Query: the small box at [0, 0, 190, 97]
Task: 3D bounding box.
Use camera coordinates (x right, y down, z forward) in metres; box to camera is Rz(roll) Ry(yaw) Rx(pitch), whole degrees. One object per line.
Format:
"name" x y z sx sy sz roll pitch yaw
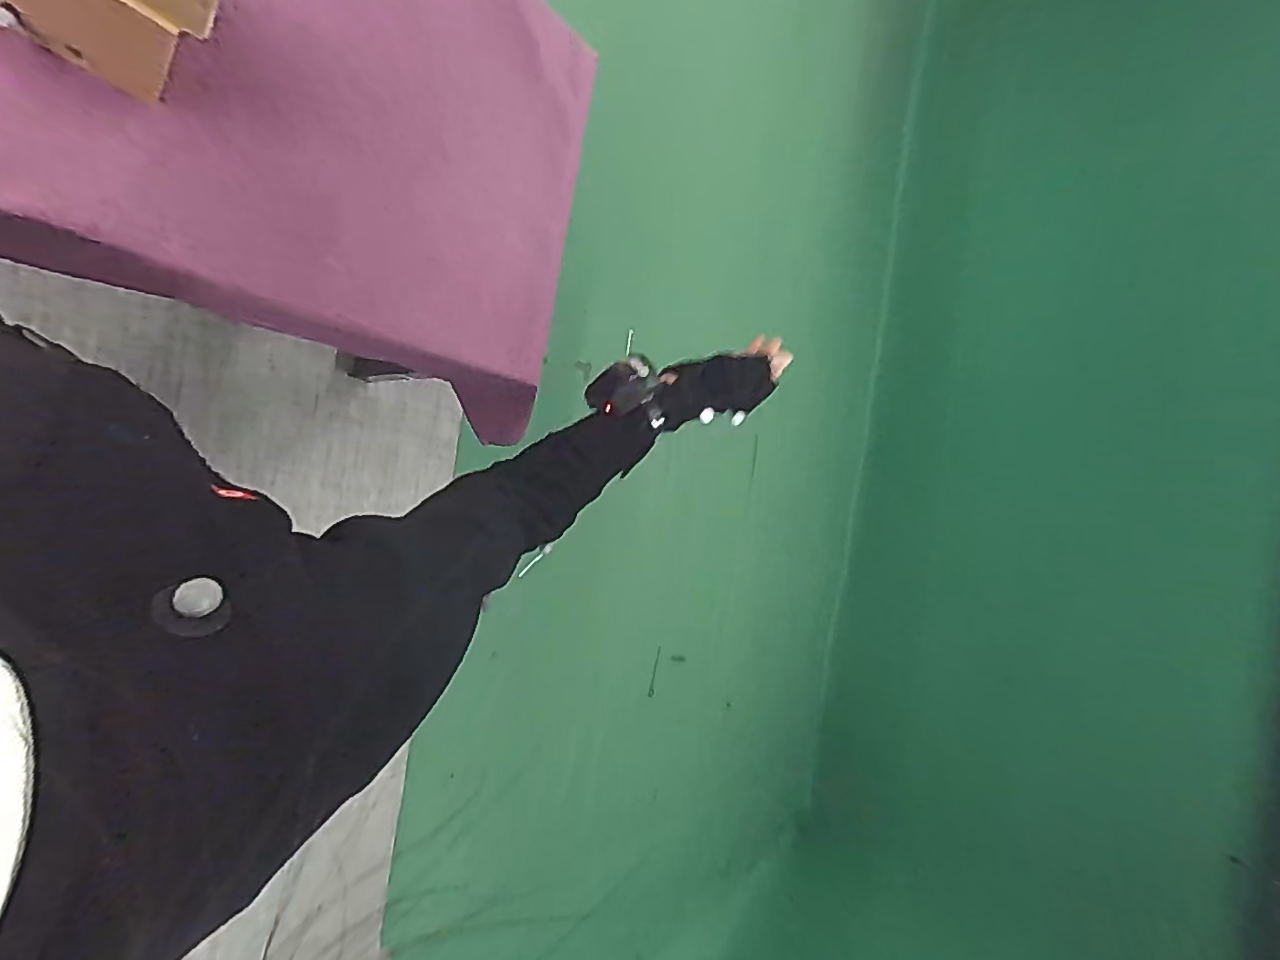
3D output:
"small box" -0.476 -0.481 0.453 0.168 0.176 0.179 17 84 -46
